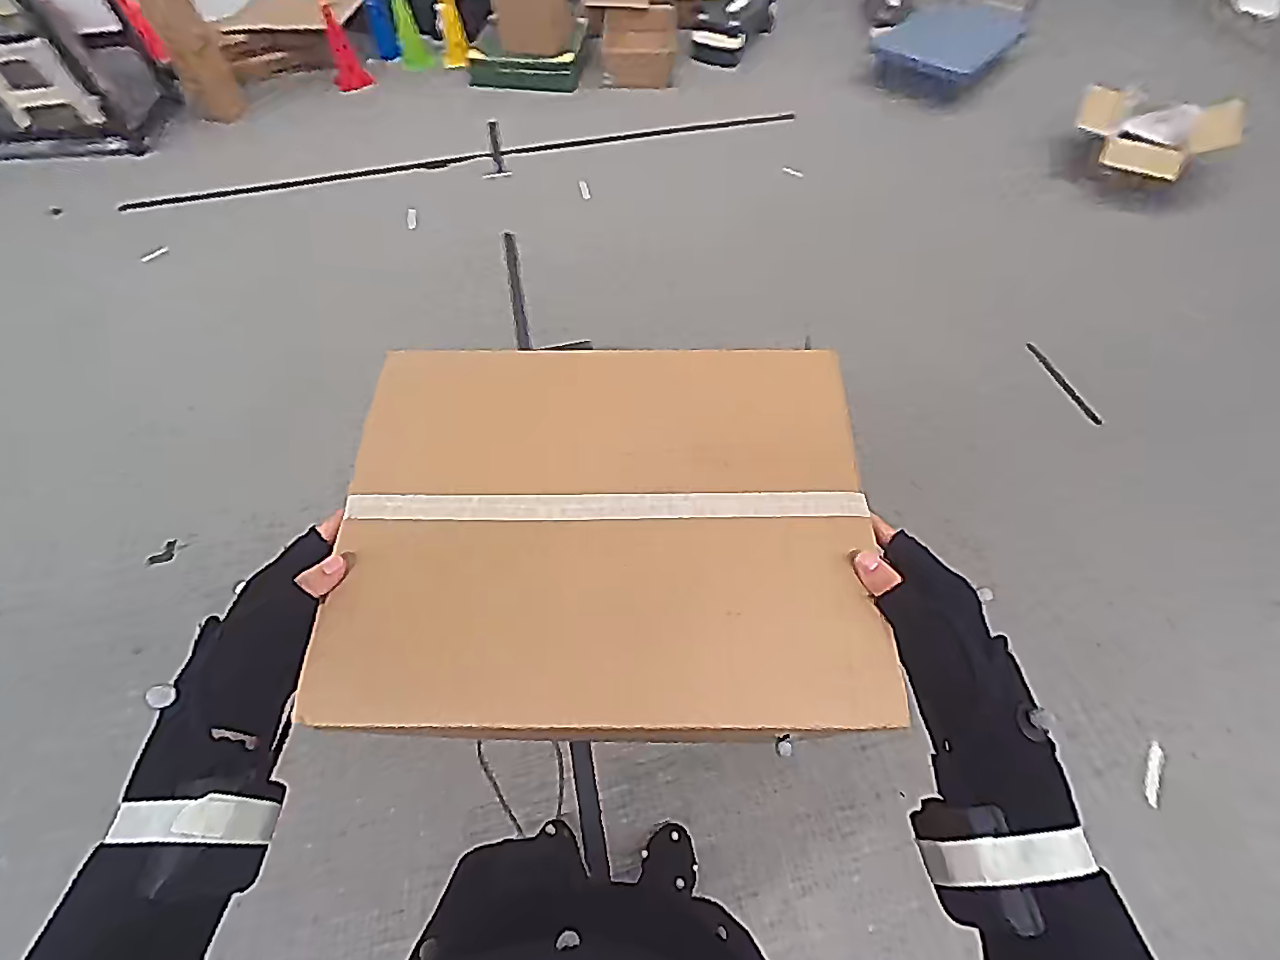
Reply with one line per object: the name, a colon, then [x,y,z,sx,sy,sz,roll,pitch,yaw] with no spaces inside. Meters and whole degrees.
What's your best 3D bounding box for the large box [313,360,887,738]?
large box: [-0.027,0.096,0.568,0.408,0.320,0.320,-1,63,0]
